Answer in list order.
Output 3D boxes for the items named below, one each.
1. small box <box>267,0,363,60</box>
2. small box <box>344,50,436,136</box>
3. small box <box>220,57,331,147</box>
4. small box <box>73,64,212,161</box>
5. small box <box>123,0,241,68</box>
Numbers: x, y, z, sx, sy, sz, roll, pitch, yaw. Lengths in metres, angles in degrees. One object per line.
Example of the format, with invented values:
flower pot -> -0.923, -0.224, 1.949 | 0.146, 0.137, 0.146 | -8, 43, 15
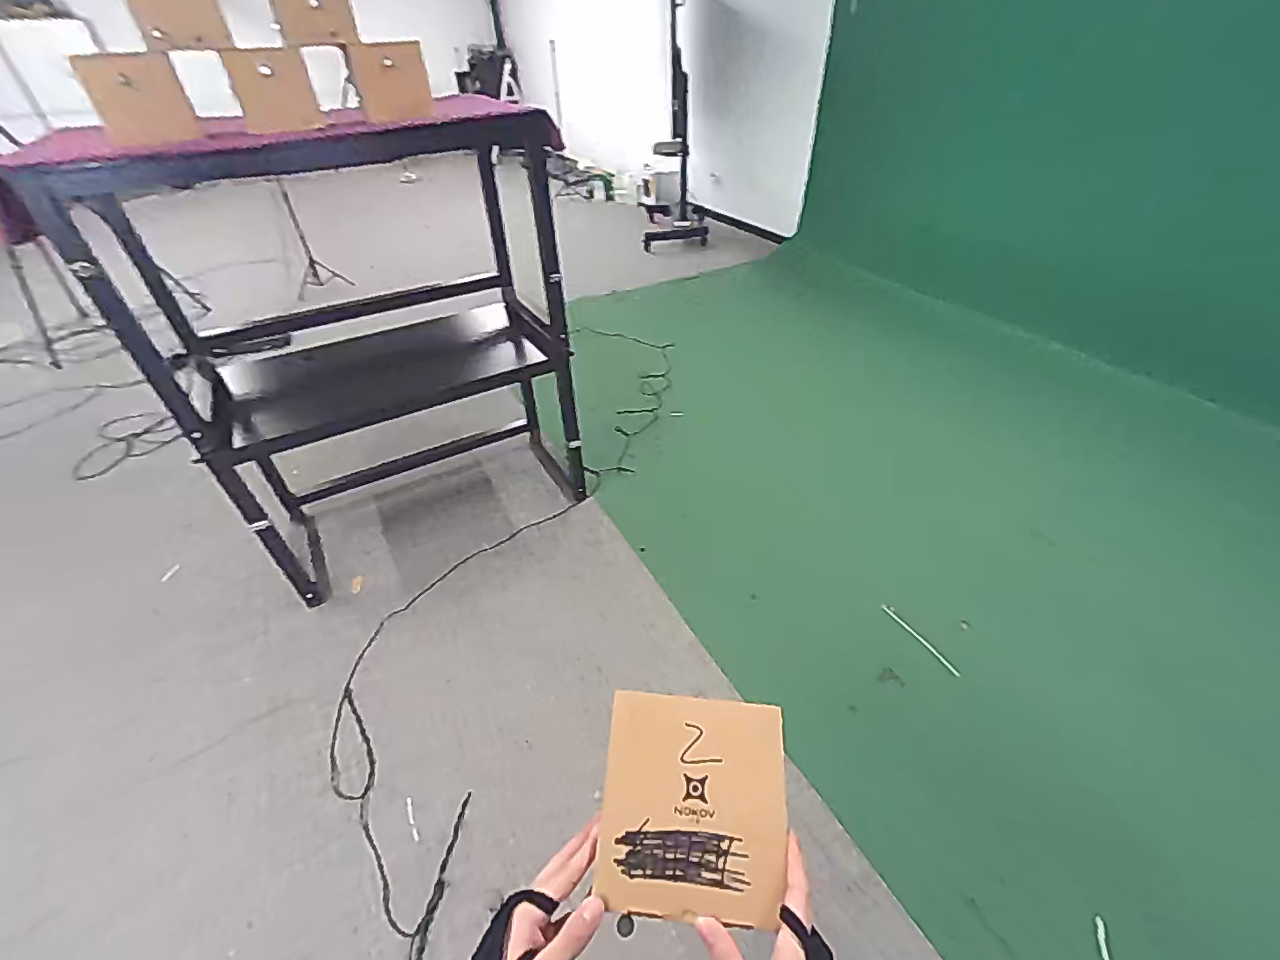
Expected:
small box -> -0.791, -1.124, 1.303 | 0.168, 0.176, 0.179 | -22, 44, -22
small box -> -0.664, -1.042, 1.451 | 0.179, 0.176, 0.168 | -23, 43, -20
small box -> -0.902, -0.942, 1.346 | 0.179, 0.176, 0.168 | -22, 43, -22
small box -> -1.138, -0.854, 1.254 | 0.179, 0.176, 0.168 | -23, 45, -23
small box -> -1.024, -1.032, 1.205 | 0.168, 0.176, 0.179 | -20, 42, -21
